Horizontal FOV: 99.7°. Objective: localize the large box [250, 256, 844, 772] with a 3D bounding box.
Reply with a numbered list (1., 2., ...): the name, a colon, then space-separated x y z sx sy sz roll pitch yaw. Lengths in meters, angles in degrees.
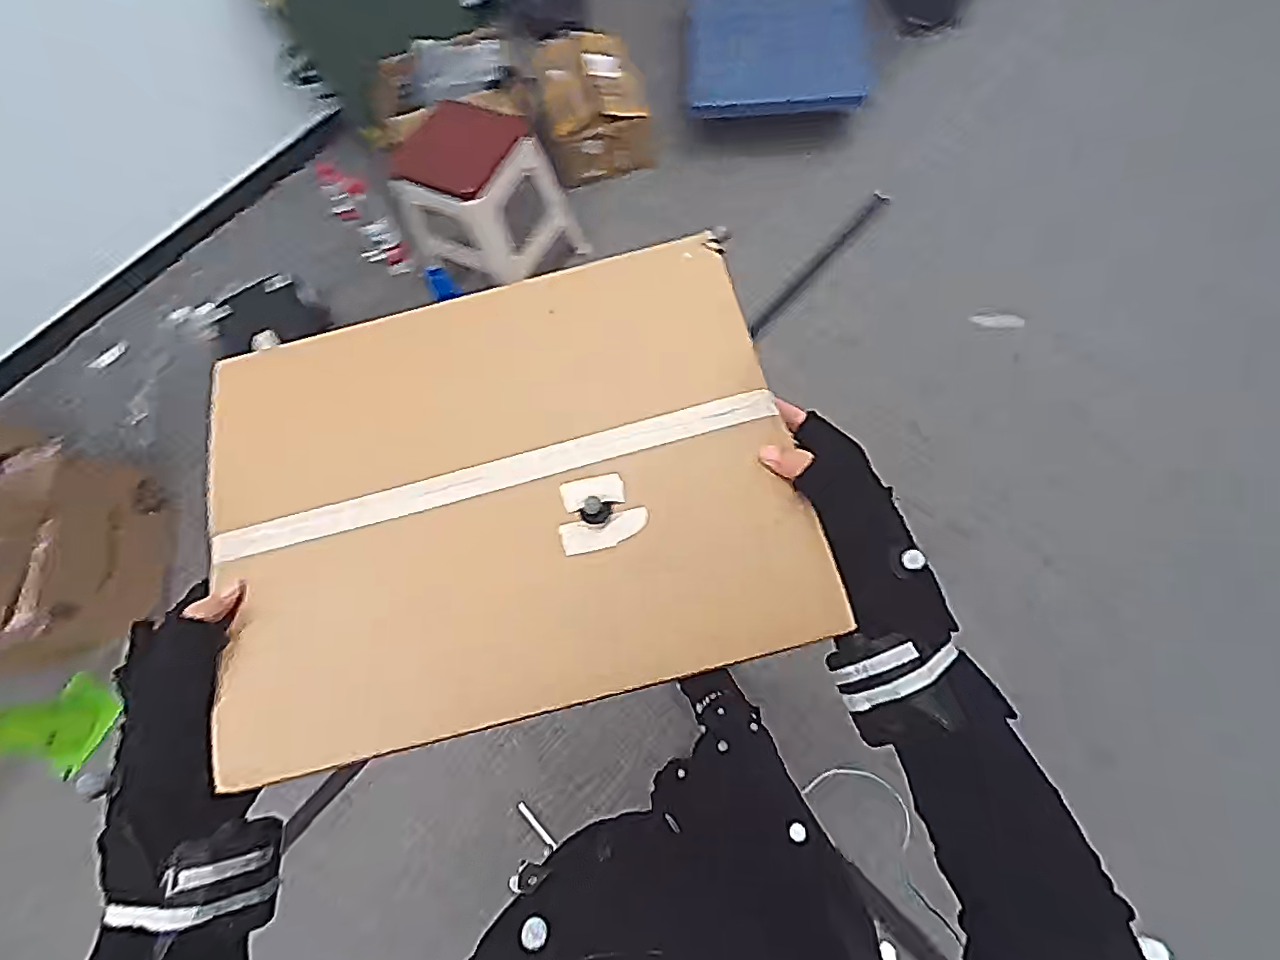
1. large box: -0.080 0.050 0.536 0.408 0.320 0.320 -14 71 1
